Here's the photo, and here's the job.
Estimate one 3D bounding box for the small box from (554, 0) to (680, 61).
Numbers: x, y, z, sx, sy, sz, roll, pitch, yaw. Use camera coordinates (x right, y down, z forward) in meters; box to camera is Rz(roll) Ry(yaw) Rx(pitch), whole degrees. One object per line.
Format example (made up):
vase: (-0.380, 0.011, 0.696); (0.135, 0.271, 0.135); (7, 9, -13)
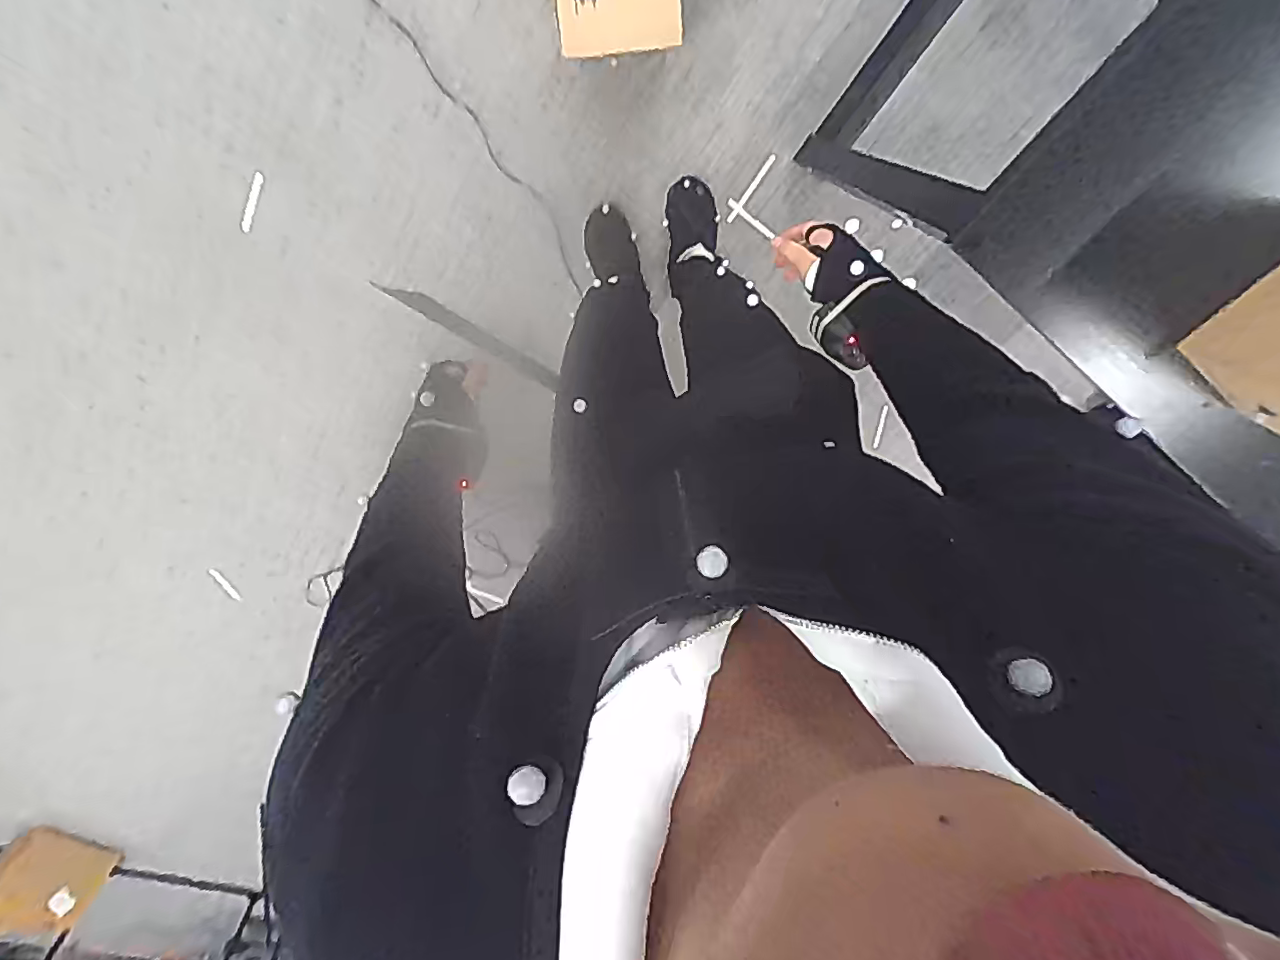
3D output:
small box: (-0.036, -0.733, 0.799); (0.179, 0.176, 0.168); (-5, 127, 1)

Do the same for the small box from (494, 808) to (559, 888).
small box: (-0.388, 1.280, 1.880); (0.168, 0.176, 0.179); (23, 118, -20)

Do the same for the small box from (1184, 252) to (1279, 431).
small box: (0.737, -0.142, 0.562); (0.168, 0.176, 0.179); (27, 120, -21)
